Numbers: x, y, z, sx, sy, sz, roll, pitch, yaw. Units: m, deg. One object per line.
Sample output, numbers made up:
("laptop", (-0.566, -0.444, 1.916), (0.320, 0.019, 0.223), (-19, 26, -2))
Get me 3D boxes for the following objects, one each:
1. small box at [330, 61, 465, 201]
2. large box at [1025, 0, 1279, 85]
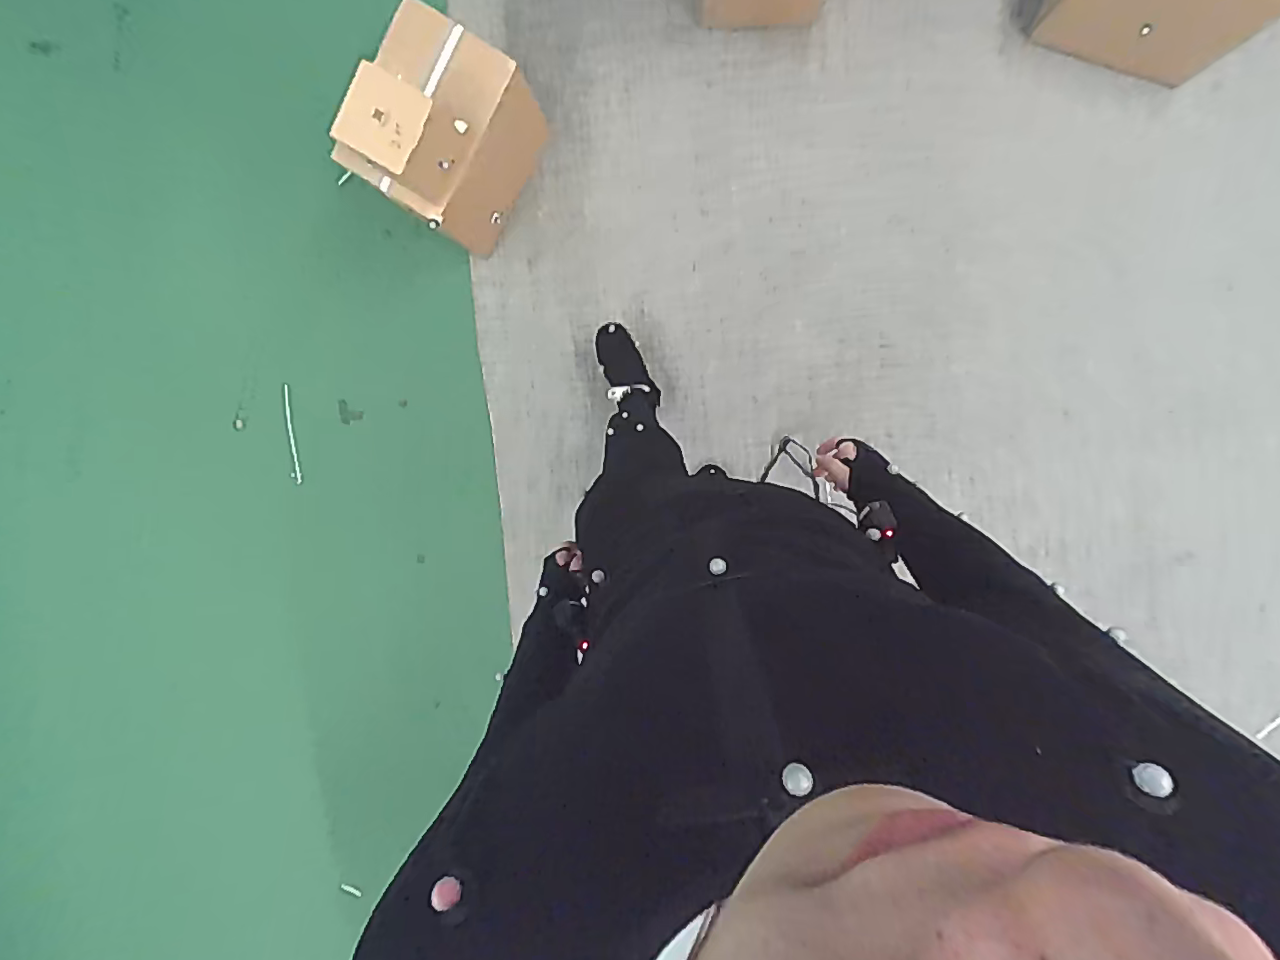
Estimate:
("small box", (-0.519, -0.745, 1.179), (0.179, 0.176, 0.168), (30, 99, 0))
("large box", (1.205, -1.179, 1.212), (0.408, 0.320, 0.320), (20, 98, 4))
